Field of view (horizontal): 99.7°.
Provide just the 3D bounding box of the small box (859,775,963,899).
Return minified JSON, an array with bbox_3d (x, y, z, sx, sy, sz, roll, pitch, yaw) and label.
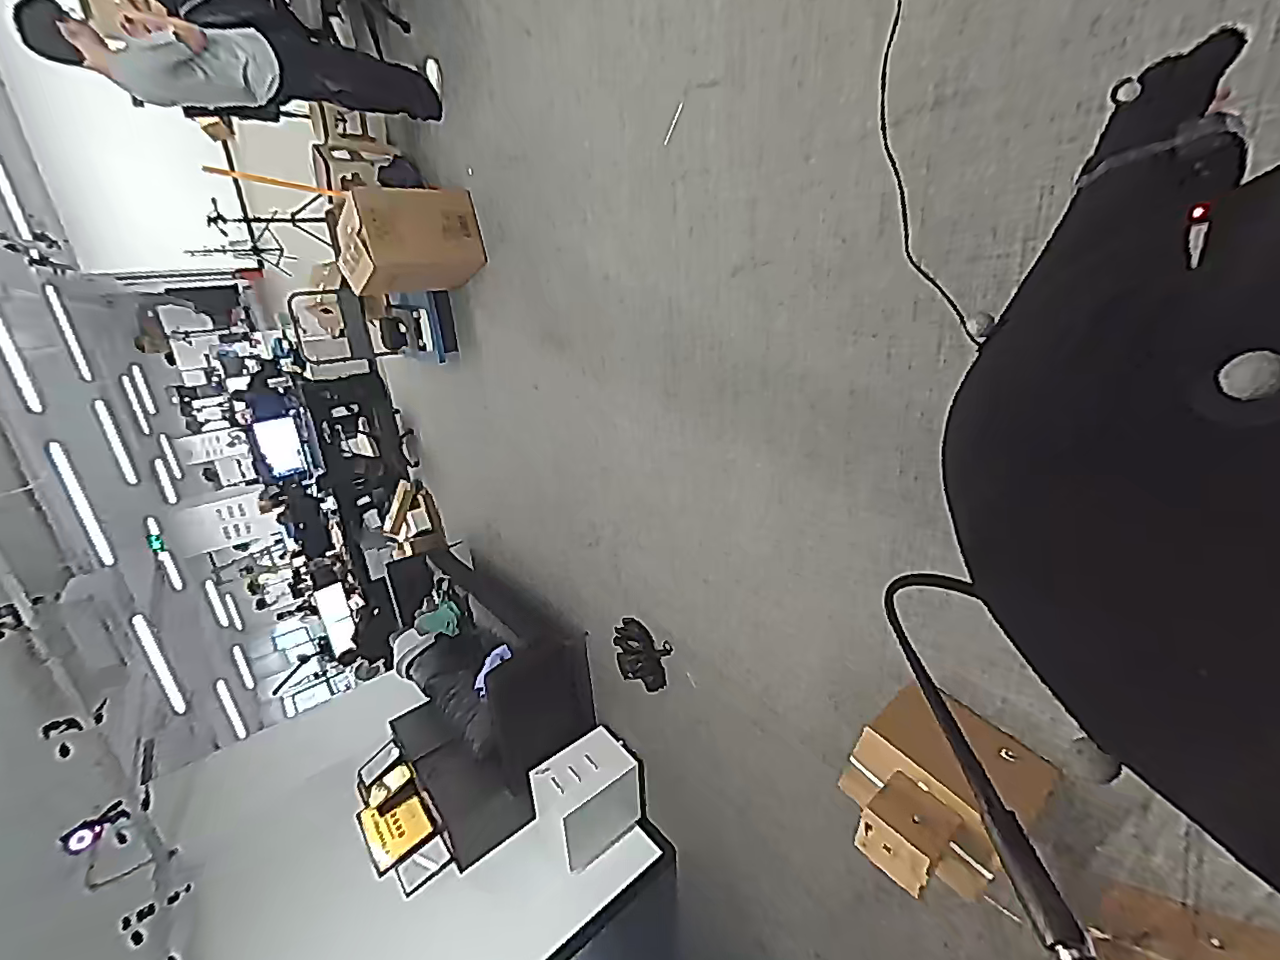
[{"bbox_3d":[0.712,0.926,1.421,0.179,0.176,0.168,27,126,44],"label":"small box"}]
